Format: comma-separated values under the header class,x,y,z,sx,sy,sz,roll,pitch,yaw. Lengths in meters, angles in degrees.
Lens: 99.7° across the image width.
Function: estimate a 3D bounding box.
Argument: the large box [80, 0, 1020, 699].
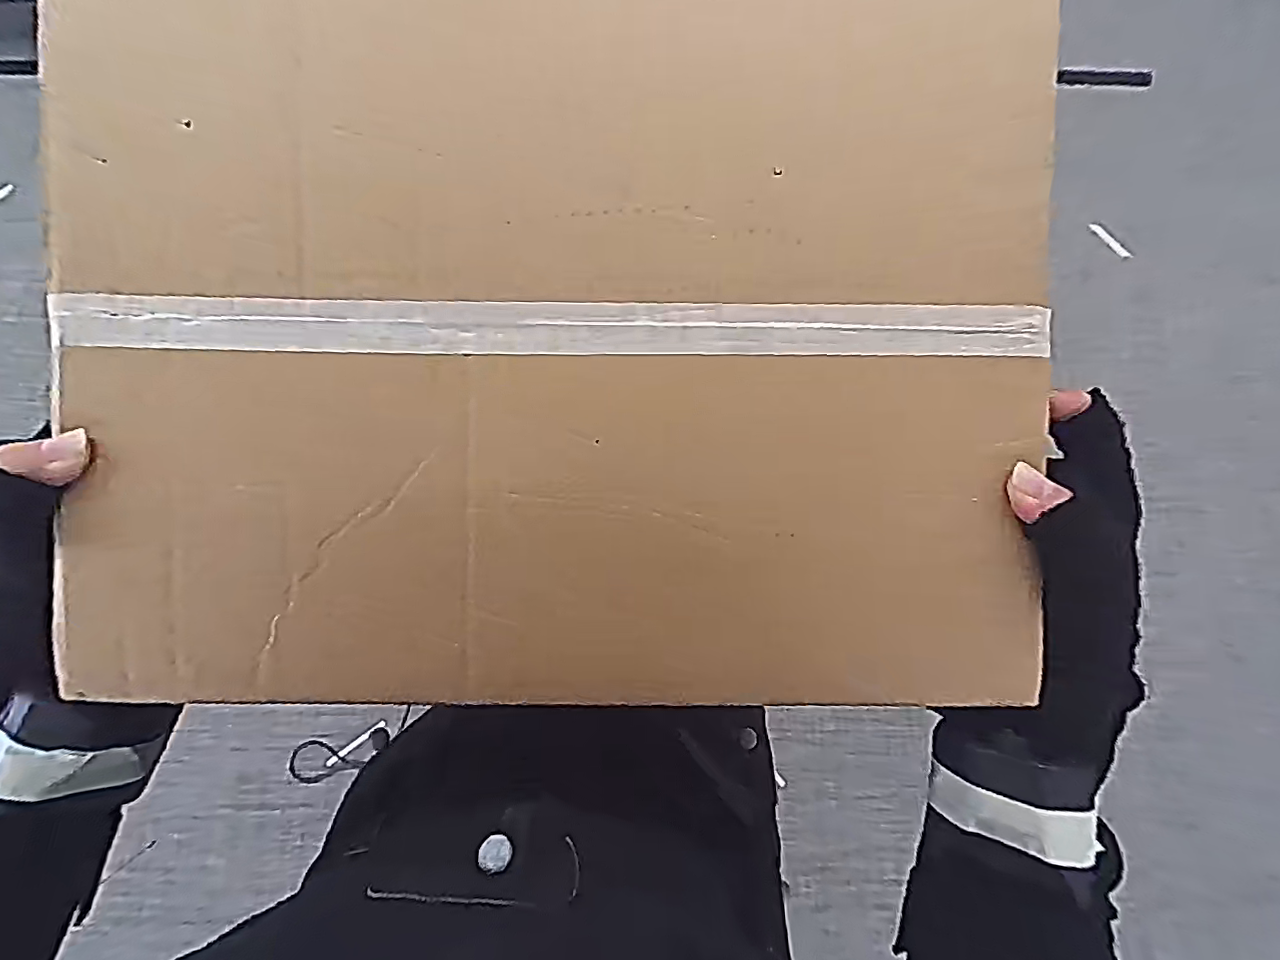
class,x,y,z,sx,sy,sz,roll,pitch,yaw
large box,-0.036,-0.063,0.383,0.408,0.320,0.320,1,91,-1
